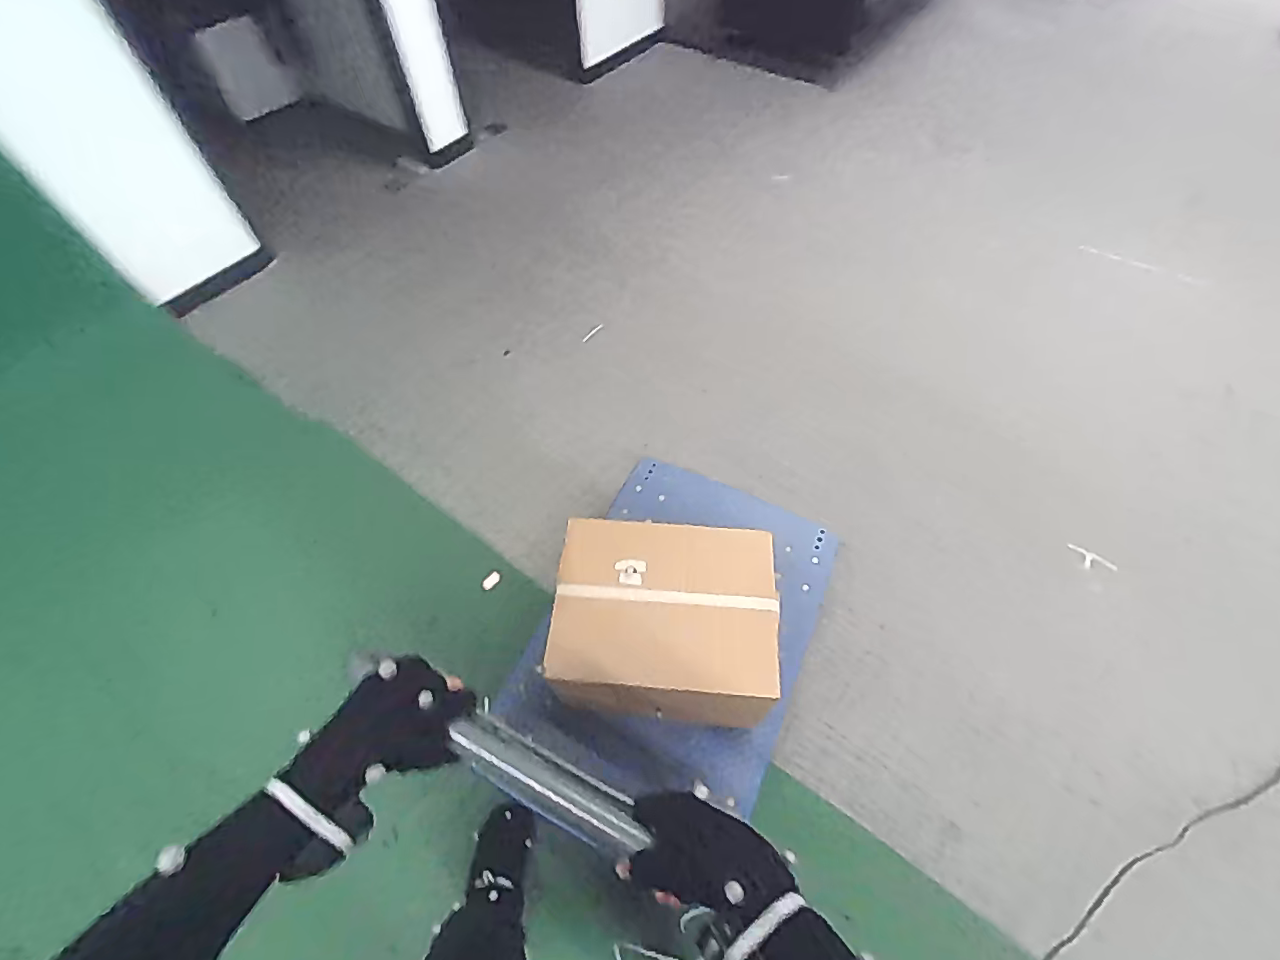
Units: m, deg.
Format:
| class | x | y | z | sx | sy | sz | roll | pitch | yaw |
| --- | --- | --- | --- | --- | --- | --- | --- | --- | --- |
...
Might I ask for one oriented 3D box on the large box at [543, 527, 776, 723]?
| class | x | y | z | sx | sy | sz | roll | pitch | yaw |
| --- | --- | --- | --- | --- | --- | --- | --- | --- | --- |
| large box | 0.048 | 0.307 | 1.120 | 0.408 | 0.320 | 0.320 | 2 | 57 | 5 |
